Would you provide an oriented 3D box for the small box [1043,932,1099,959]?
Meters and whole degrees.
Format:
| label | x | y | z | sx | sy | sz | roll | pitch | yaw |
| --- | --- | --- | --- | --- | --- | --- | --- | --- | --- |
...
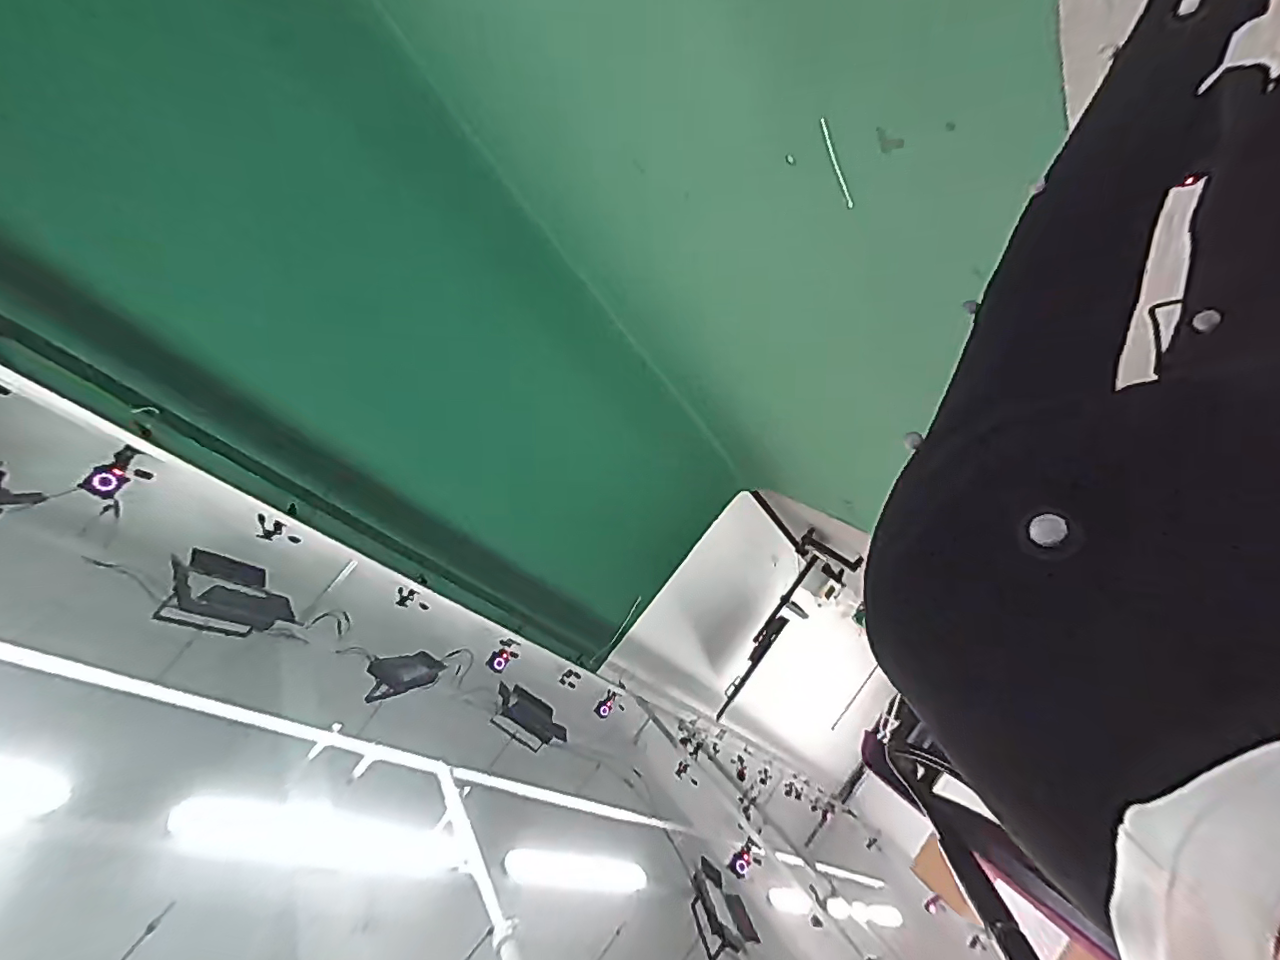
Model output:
| label | x | y | z | sx | sy | sz | roll | pitch | yaw |
| --- | --- | --- | --- | --- | --- | --- | --- | --- | --- |
| small box | 1.188 | 1.358 | 1.445 | 0.168 | 0.176 | 0.179 | 44 | 172 | -39 |

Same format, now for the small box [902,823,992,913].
| label | x | y | z | sx | sy | sz | roll | pitch | yaw |
| --- | --- | --- | --- | --- | --- | --- | --- | --- | --- |
| small box | 0.984 | 1.234 | 1.731 | 0.168 | 0.176 | 0.179 | 42 | 173 | -39 |
